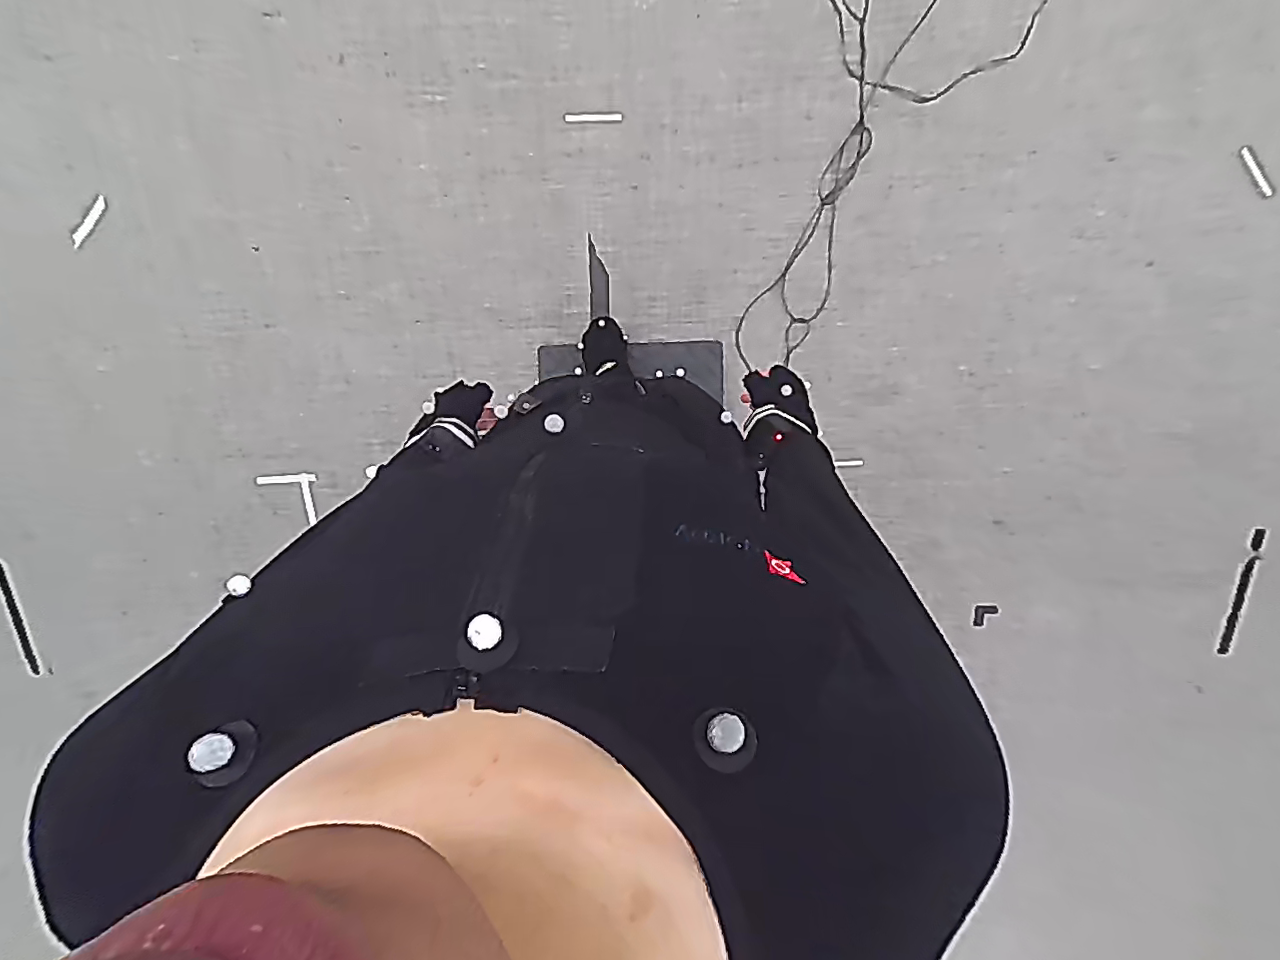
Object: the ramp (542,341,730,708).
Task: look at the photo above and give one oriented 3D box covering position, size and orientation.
[{"bbox_3d":[-0.008,0.135,1.472,0.509,0.206,0.991,-3,104,3],"label":"ramp"}]
